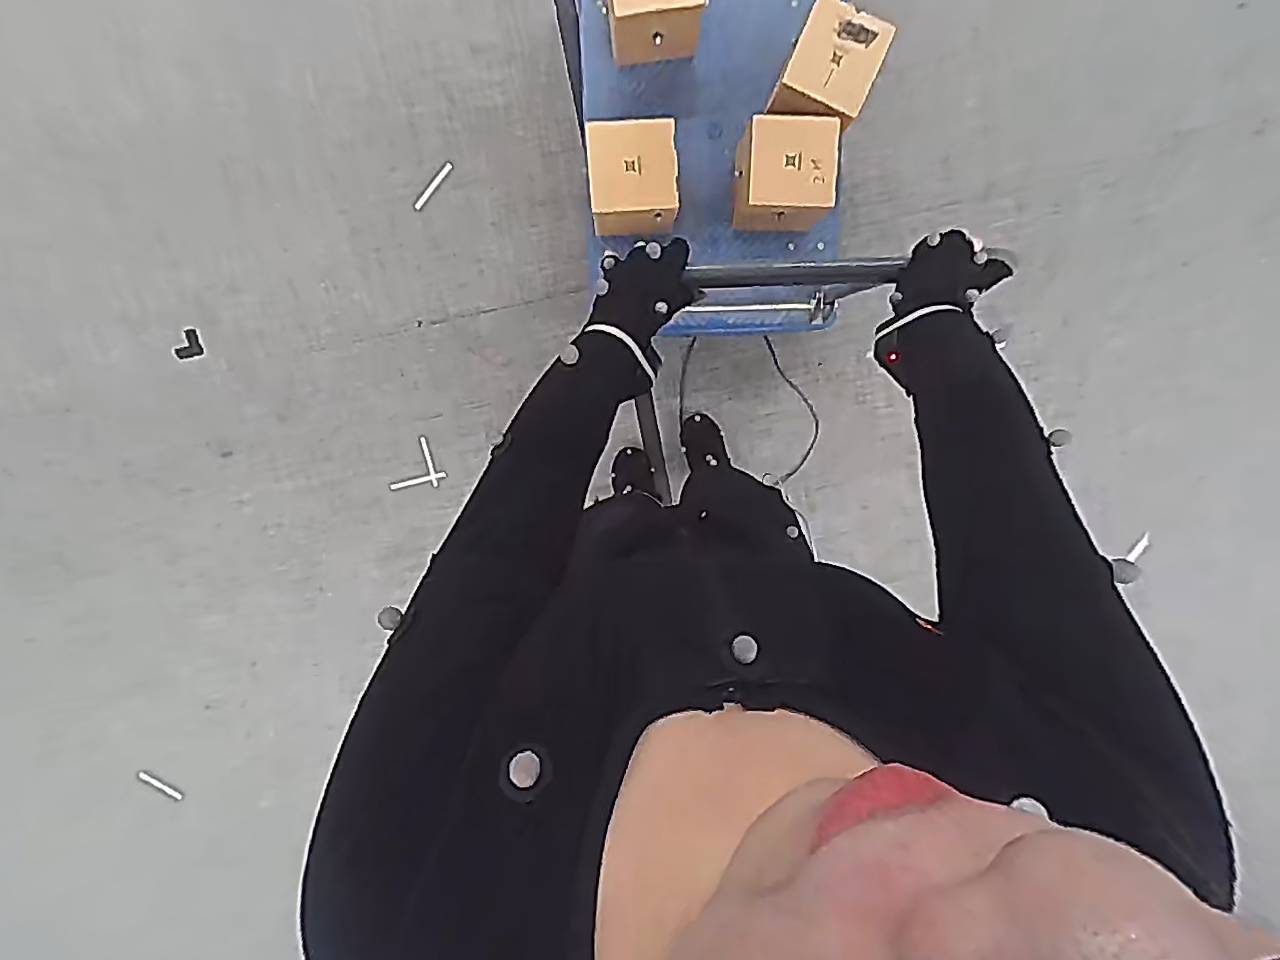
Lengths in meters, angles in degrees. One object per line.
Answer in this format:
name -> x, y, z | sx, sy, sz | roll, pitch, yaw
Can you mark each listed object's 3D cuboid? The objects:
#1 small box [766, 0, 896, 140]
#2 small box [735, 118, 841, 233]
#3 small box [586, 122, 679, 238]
small box -> 0.379, -0.819, 1.112 | 0.168, 0.176, 0.179 | 23, 99, -5
small box -> 0.301, -0.631, 1.139 | 0.179, 0.176, 0.168 | 1, 100, -1
small box -> -0.016, -0.619, 1.133 | 0.179, 0.176, 0.168 | -4, 99, -2
